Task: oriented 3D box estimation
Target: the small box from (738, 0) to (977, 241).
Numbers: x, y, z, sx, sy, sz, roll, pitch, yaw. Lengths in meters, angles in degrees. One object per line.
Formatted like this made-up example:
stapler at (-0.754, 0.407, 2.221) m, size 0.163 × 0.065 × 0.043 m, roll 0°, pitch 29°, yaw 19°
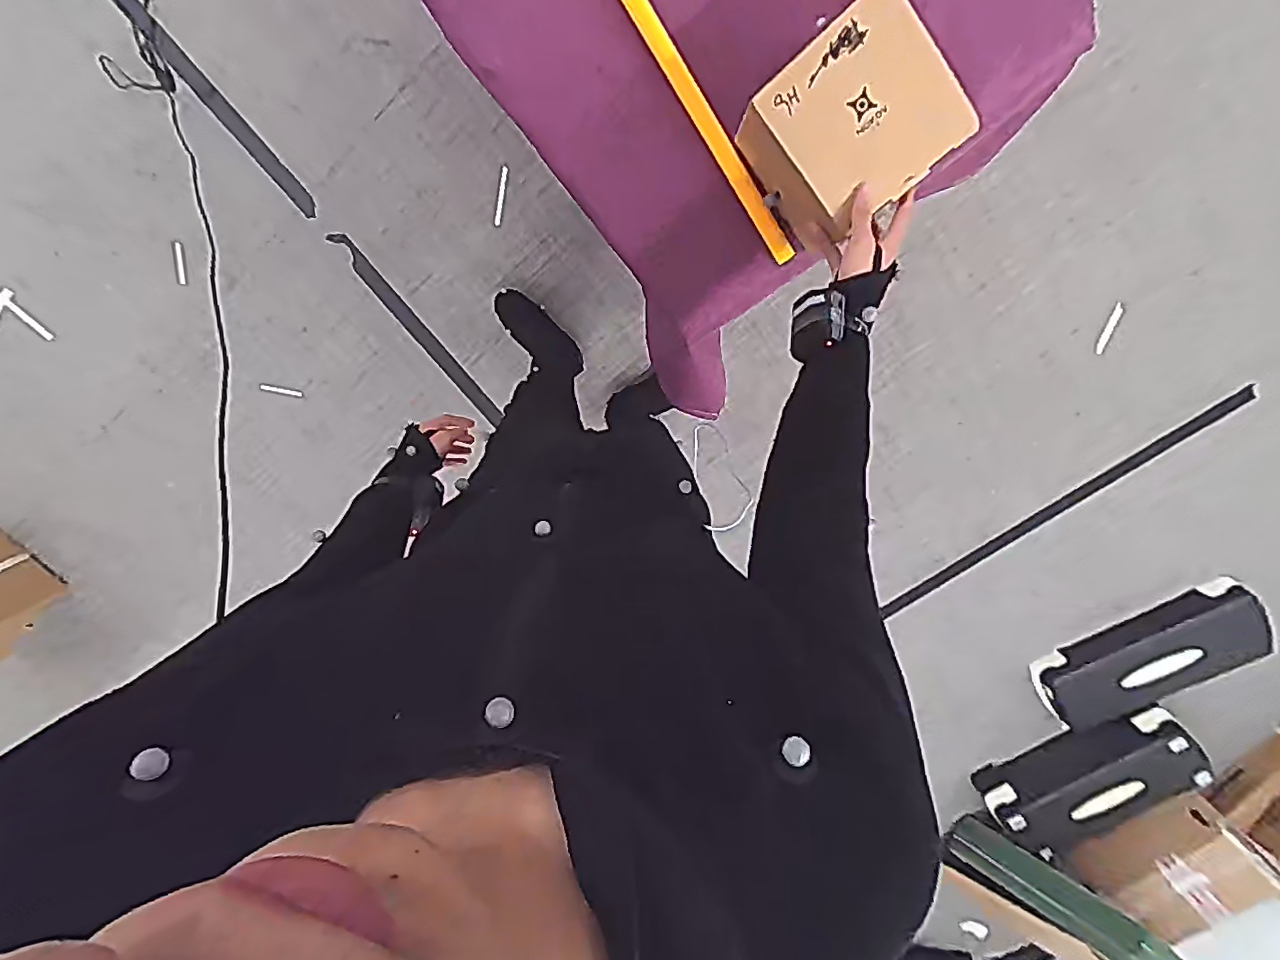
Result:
small box at (0.234, -0.401, 0.626) m, size 0.168 × 0.176 × 0.179 m, roll -37°, pitch 104°, yaw 14°
